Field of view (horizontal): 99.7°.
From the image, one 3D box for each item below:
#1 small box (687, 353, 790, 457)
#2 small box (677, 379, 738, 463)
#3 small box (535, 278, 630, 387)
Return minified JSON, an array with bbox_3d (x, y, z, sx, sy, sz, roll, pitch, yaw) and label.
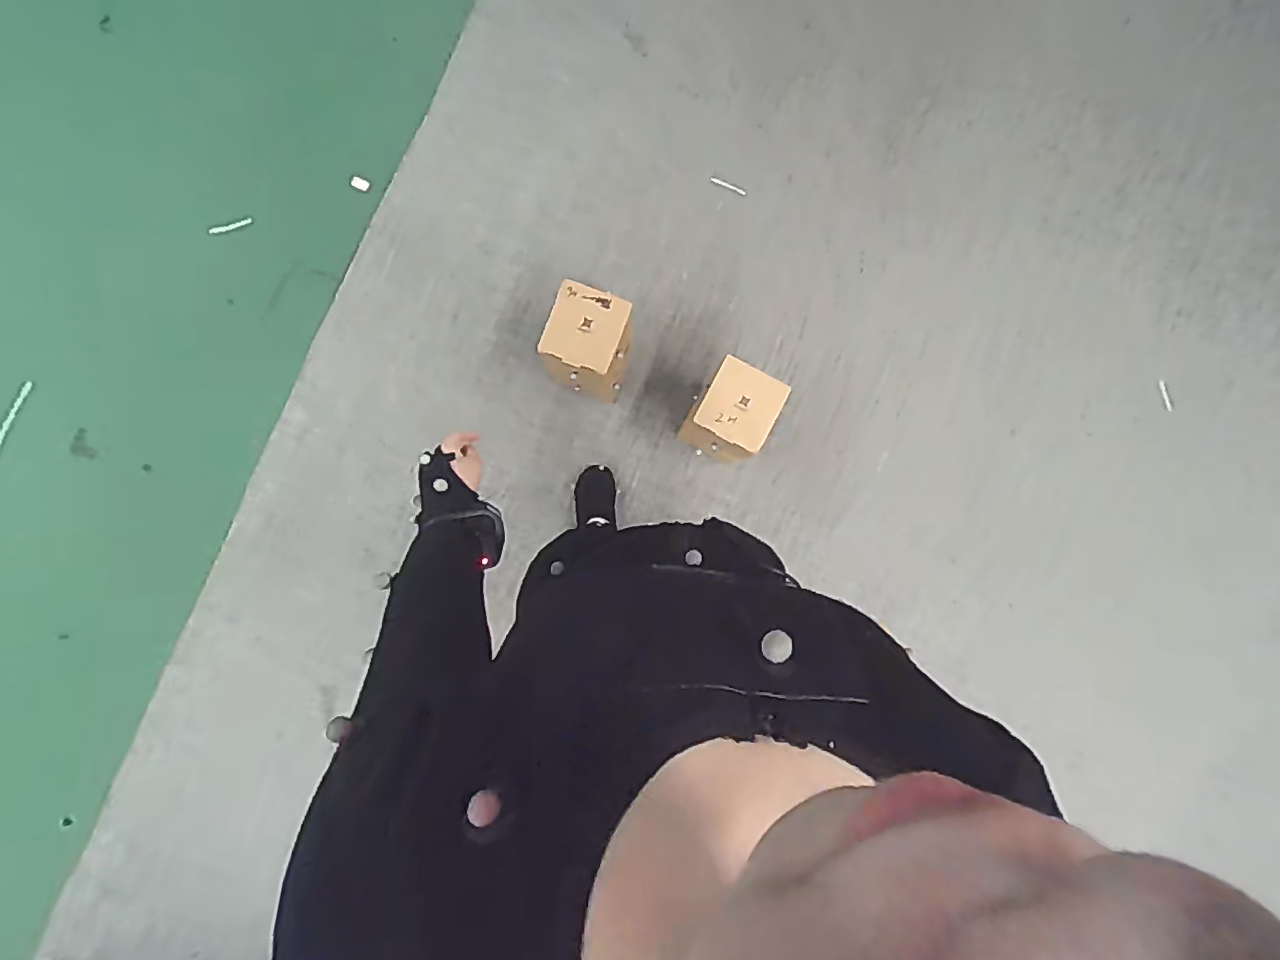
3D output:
[{"bbox_3d":[0.222,-0.168,1.279,0.168,0.176,0.179,28,88,-1],"label":"small box"},{"bbox_3d":[0.211,-0.161,1.444,0.168,0.176,0.179,30,88,-1],"label":"small box"},{"bbox_3d":[-0.127,-0.335,1.271,0.168,0.176,0.179,21,88,-1],"label":"small box"}]
